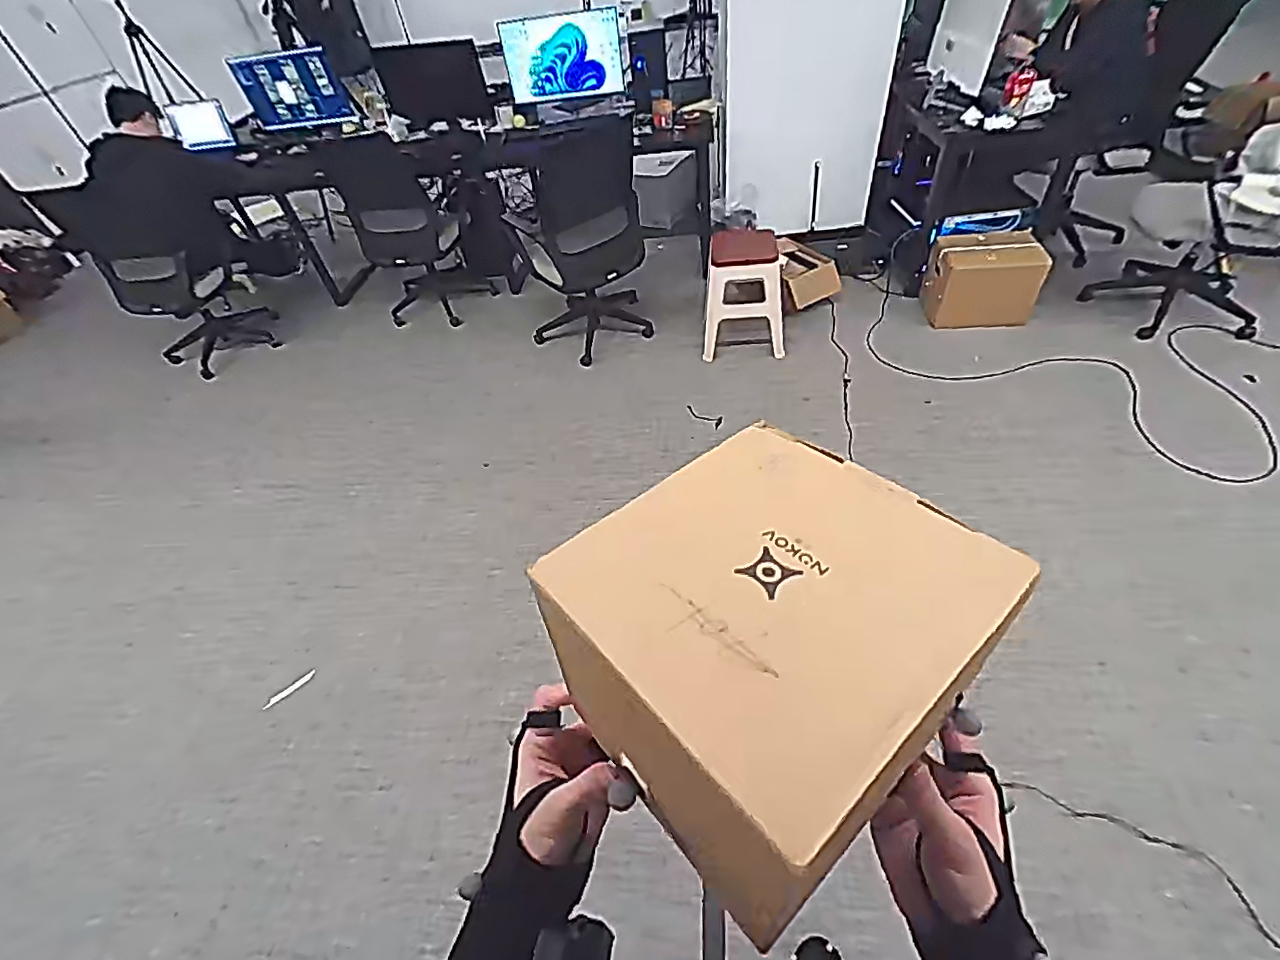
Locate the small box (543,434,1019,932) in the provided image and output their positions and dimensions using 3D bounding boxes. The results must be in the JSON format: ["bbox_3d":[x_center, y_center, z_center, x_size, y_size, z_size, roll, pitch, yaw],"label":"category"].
[{"bbox_3d":[0.070,0.107,0.318,0.179,0.176,0.168,-33,47,-27],"label":"small box"}]
